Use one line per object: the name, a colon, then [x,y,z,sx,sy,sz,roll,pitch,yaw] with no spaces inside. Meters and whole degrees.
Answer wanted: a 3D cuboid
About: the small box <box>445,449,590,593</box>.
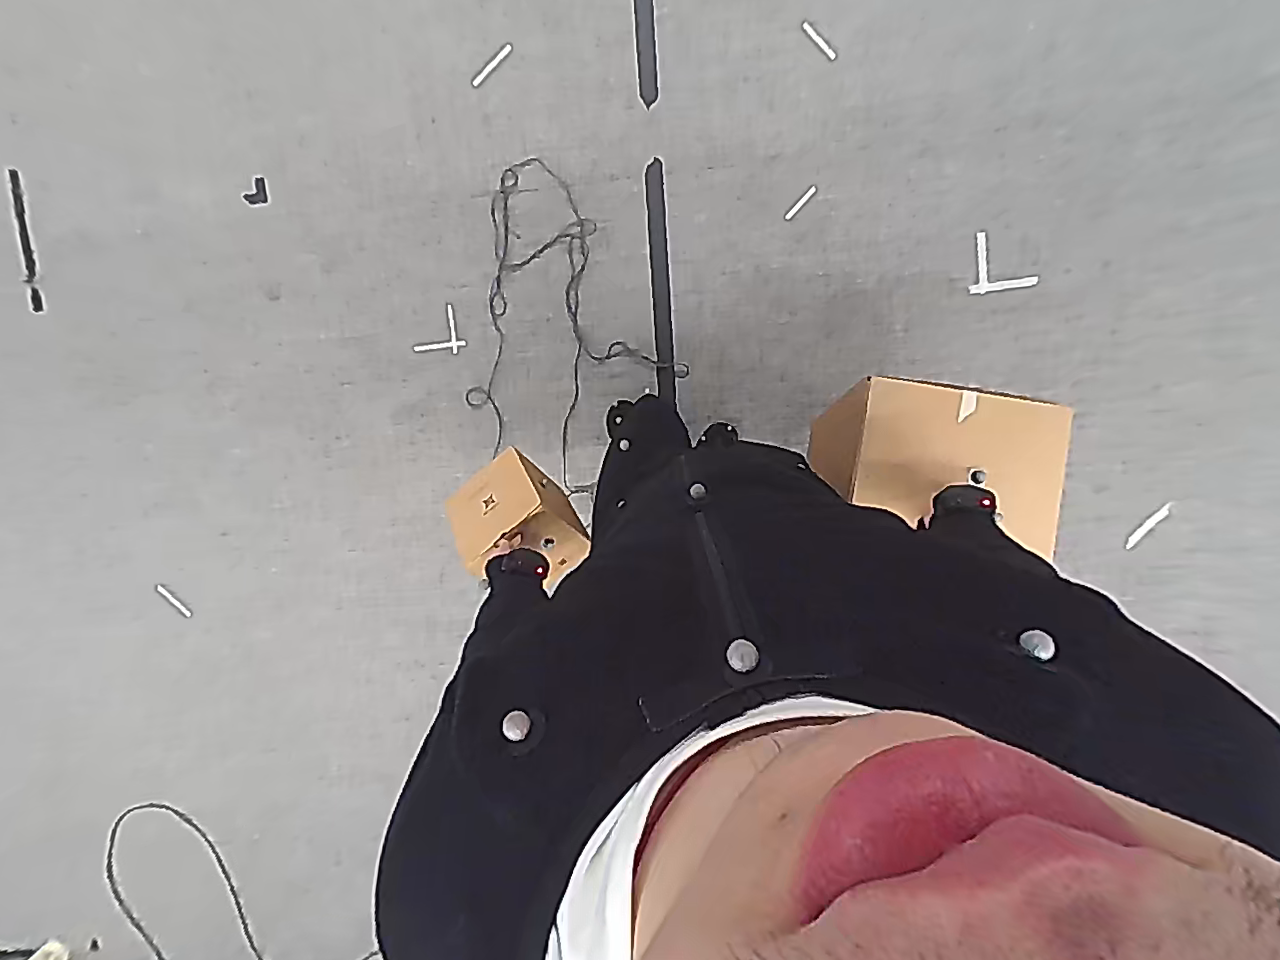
small box: [-0.219,0.084,0.984,0.168,0.179,0.176,-39,137,1]
